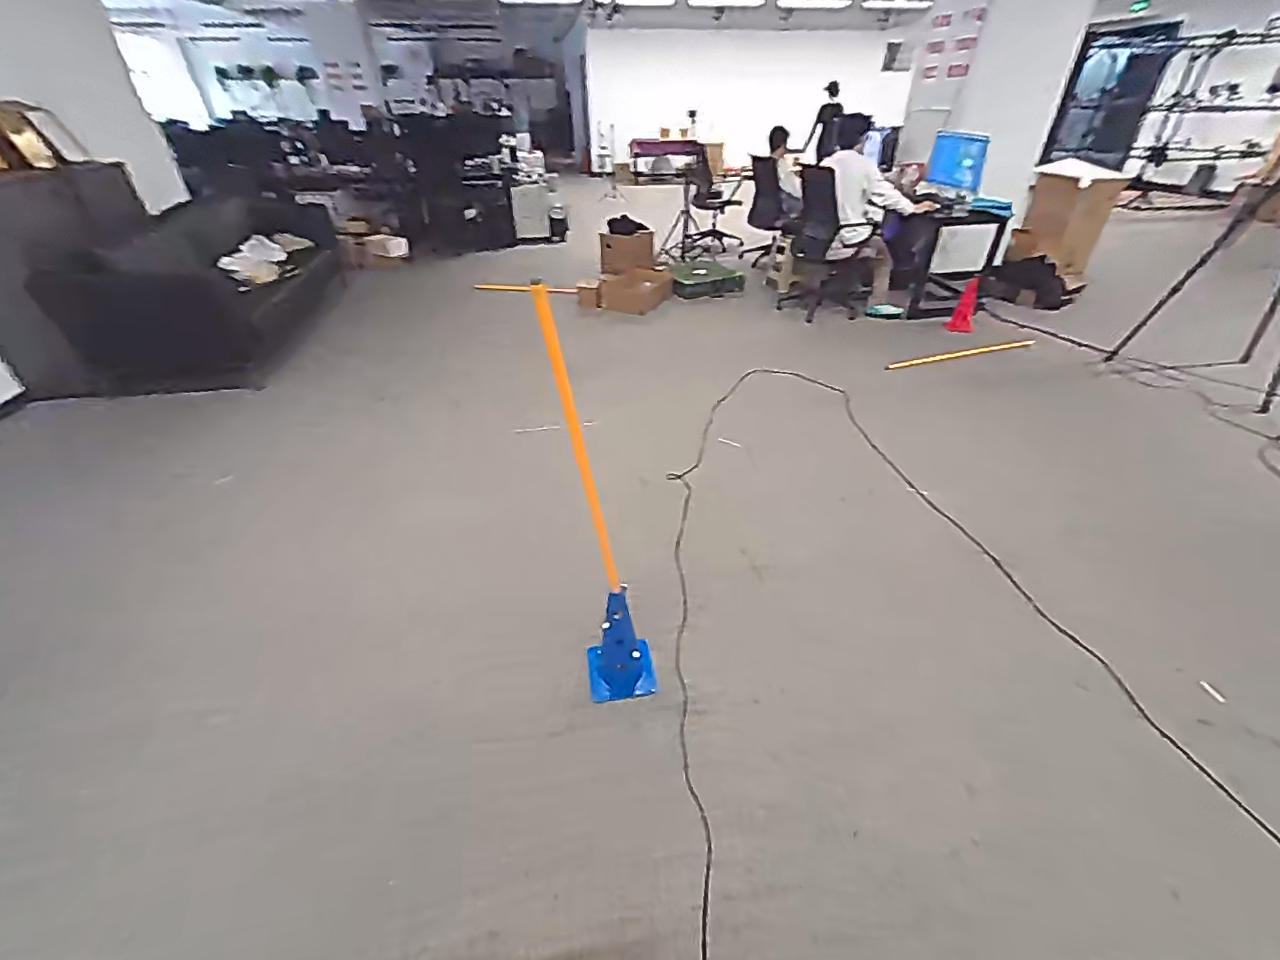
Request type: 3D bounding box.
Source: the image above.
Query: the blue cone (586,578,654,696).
[{"bbox_3d":[-0.068,0.433,1.554,0.193,0.380,0.192,-9,36,-9],"label":"blue cone"}]
